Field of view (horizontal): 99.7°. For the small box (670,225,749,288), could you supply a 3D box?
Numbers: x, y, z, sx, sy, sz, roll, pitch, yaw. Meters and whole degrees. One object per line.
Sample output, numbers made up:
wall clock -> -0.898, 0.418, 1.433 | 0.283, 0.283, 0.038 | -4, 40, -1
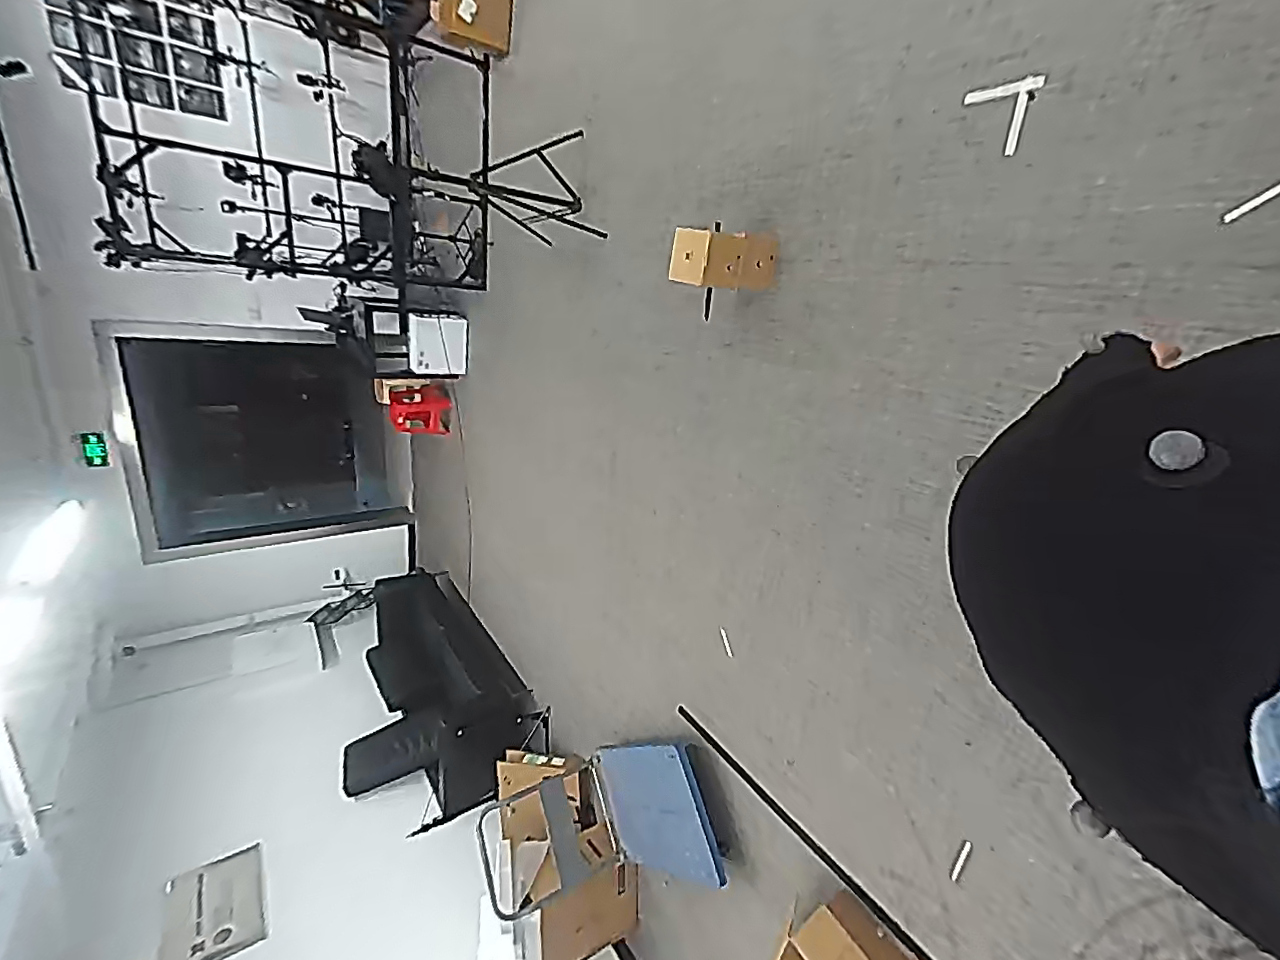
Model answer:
small box -> 0.229, -0.741, 1.798 | 0.179, 0.176, 0.168 | 35, 124, 45

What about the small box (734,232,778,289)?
small box -> 0.360, -0.766, 1.893 | 0.179, 0.176, 0.168 | 27, 118, 50
